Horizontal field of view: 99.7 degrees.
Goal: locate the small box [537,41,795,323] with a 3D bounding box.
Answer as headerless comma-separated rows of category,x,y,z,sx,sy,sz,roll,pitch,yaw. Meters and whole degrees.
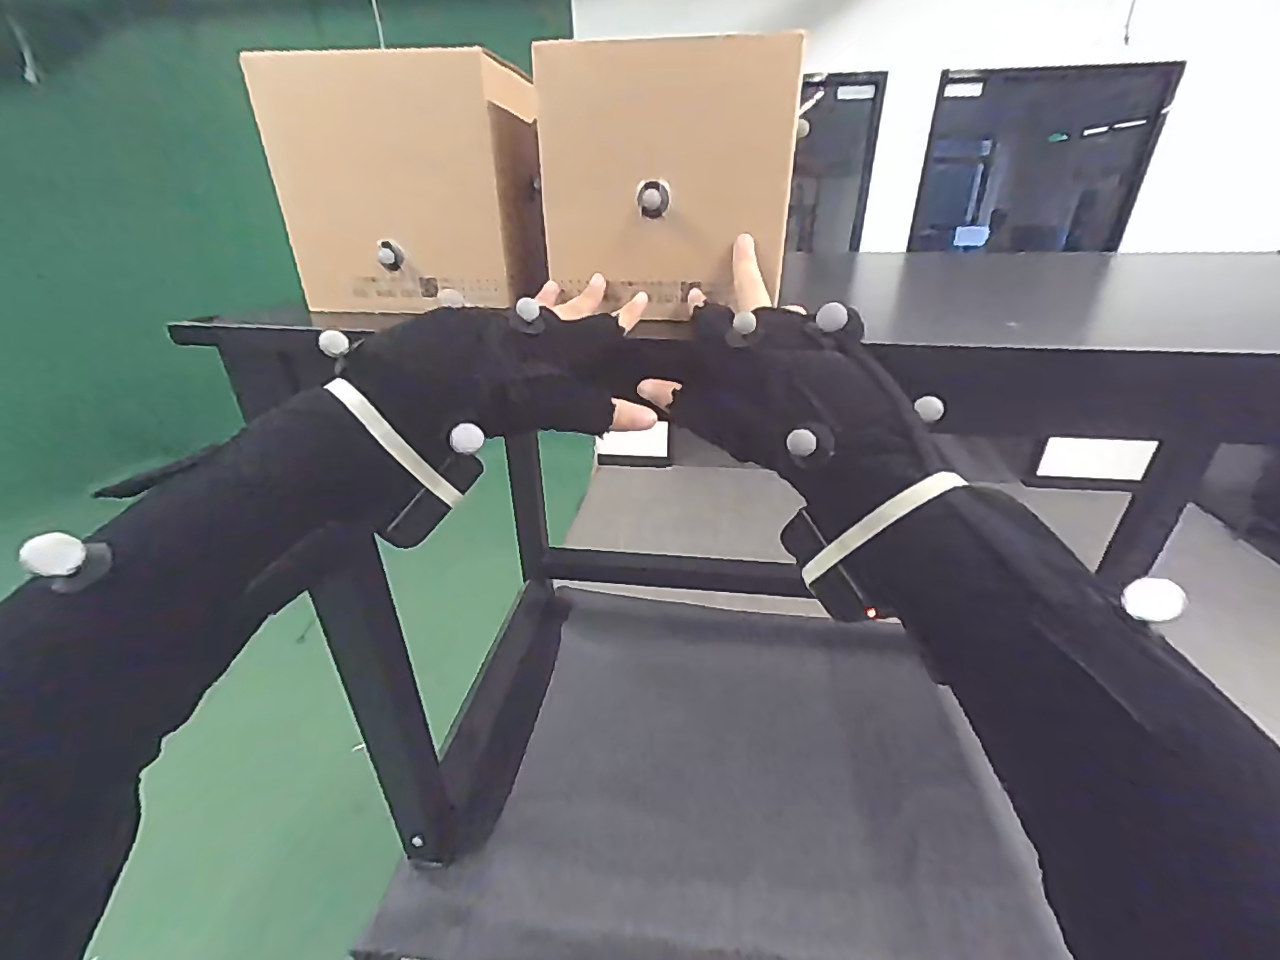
small box,0.028,-0.229,0.442,0.168,0.176,0.179,4,28,7
